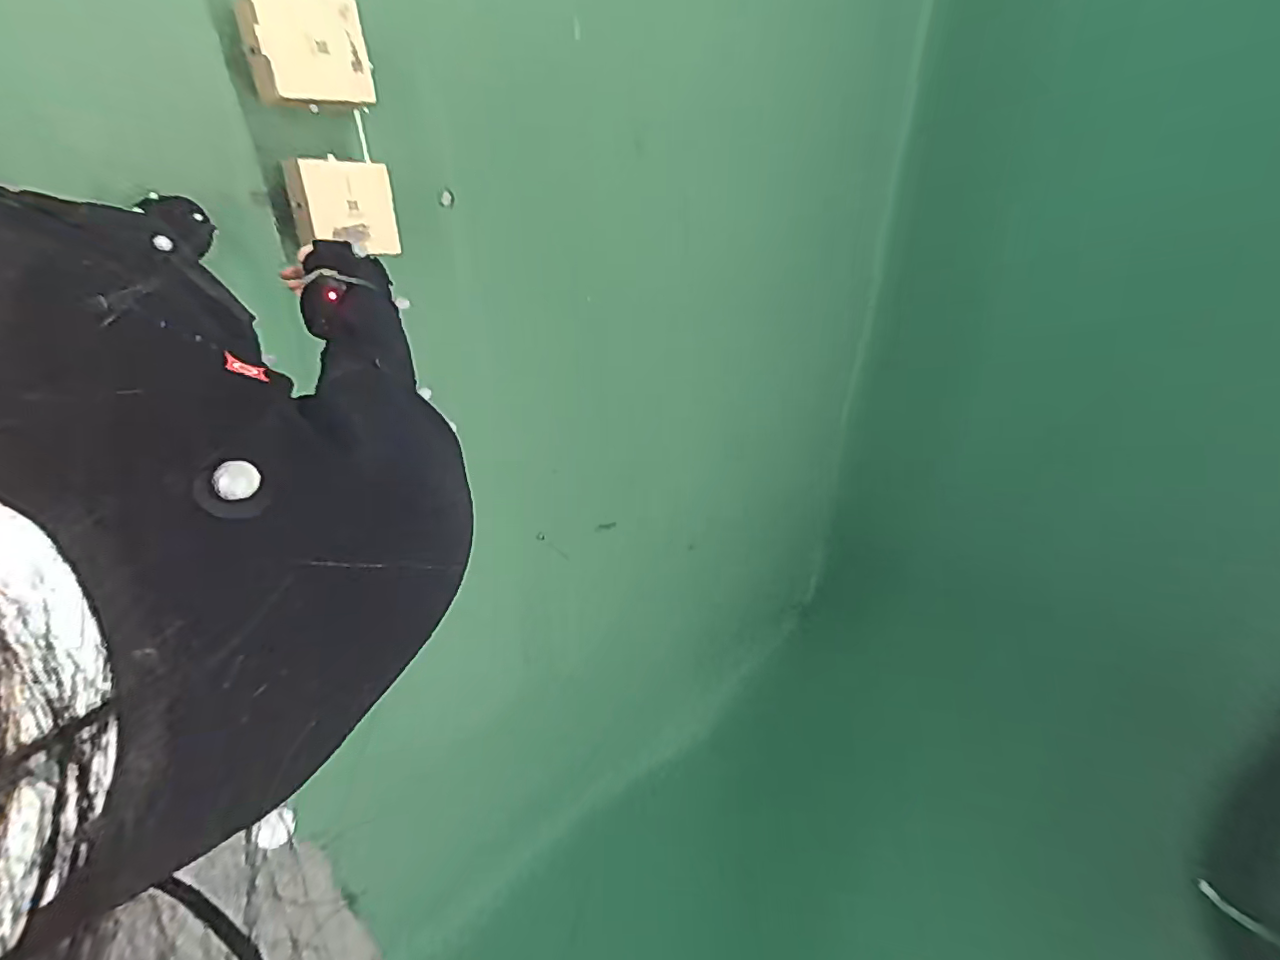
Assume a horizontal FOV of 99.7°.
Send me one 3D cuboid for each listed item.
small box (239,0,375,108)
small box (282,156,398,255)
[{"bbox_3d":[-0.640,-0.823,1.036,0.179,0.176,0.168,-23,126,-33],"label":"small box"},{"bbox_3d":[-0.643,-0.588,1.163,0.168,0.176,0.179,-20,124,-36],"label":"small box"}]
